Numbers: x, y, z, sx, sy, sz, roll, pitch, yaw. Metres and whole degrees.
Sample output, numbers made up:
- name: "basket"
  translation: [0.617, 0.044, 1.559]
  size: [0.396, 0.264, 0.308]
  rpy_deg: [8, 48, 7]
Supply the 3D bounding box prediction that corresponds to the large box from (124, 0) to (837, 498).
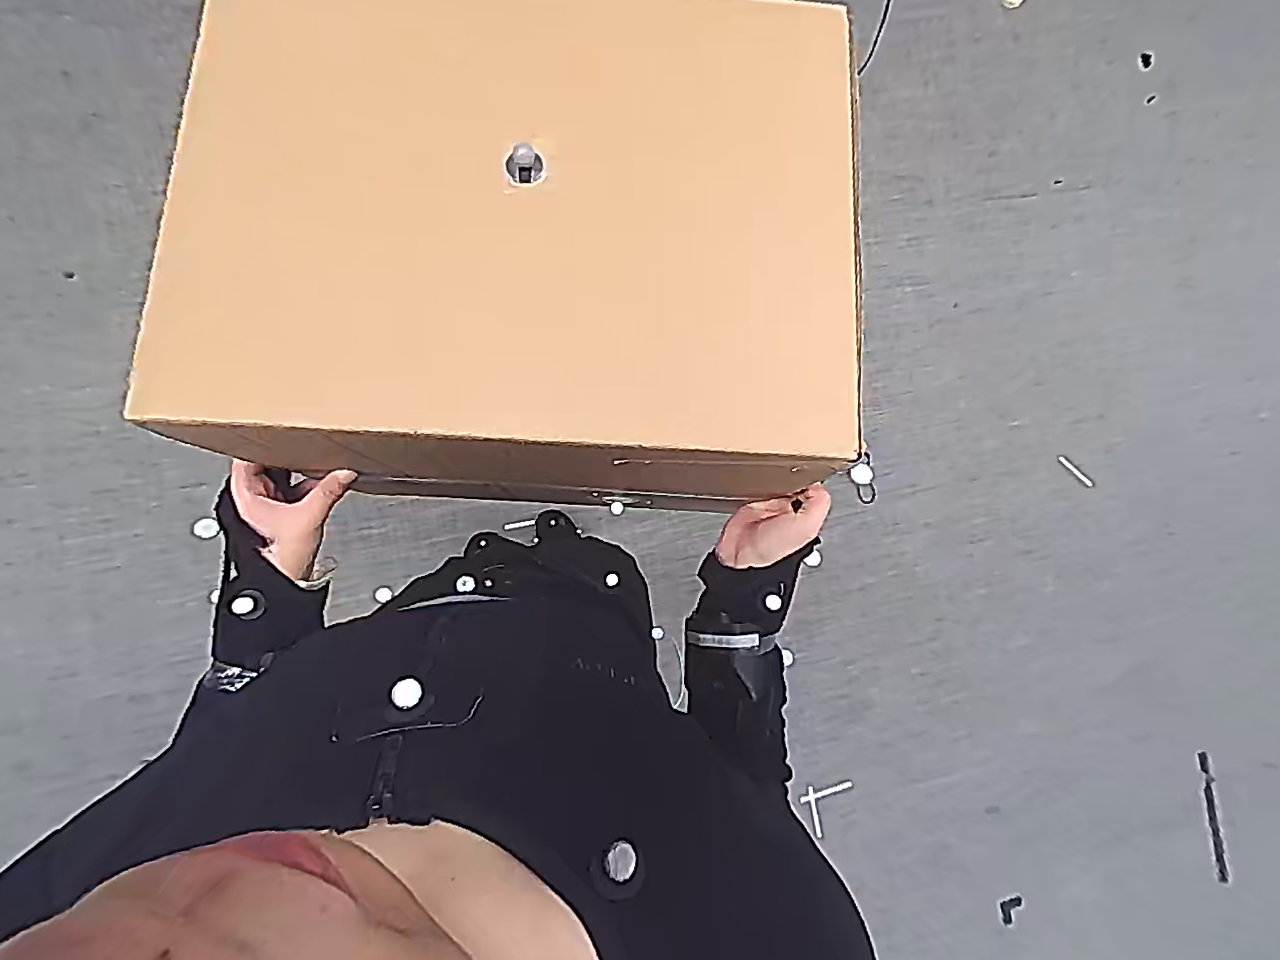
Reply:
- name: "large box"
  translation: [-0.089, -0.158, 0.466]
  size: [0.408, 0.320, 0.320]
  rpy_deg: [2, 83, -2]
